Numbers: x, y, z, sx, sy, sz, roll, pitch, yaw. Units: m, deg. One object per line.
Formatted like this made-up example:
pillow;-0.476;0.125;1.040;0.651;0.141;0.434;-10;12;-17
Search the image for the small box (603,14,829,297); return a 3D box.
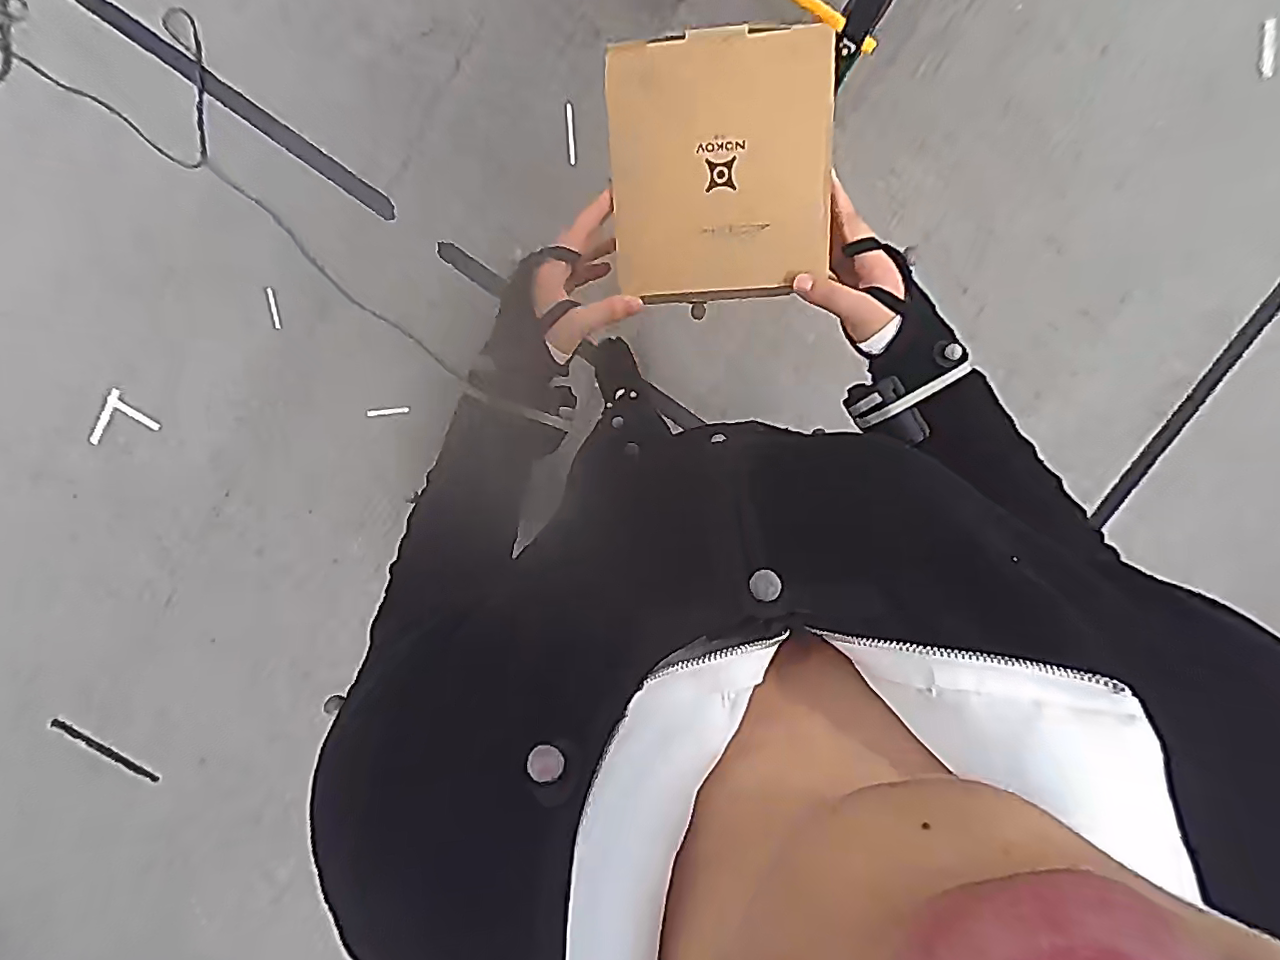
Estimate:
small box;0.059;-0.264;0.483;0.168;0.176;0.179;-2;106;3
